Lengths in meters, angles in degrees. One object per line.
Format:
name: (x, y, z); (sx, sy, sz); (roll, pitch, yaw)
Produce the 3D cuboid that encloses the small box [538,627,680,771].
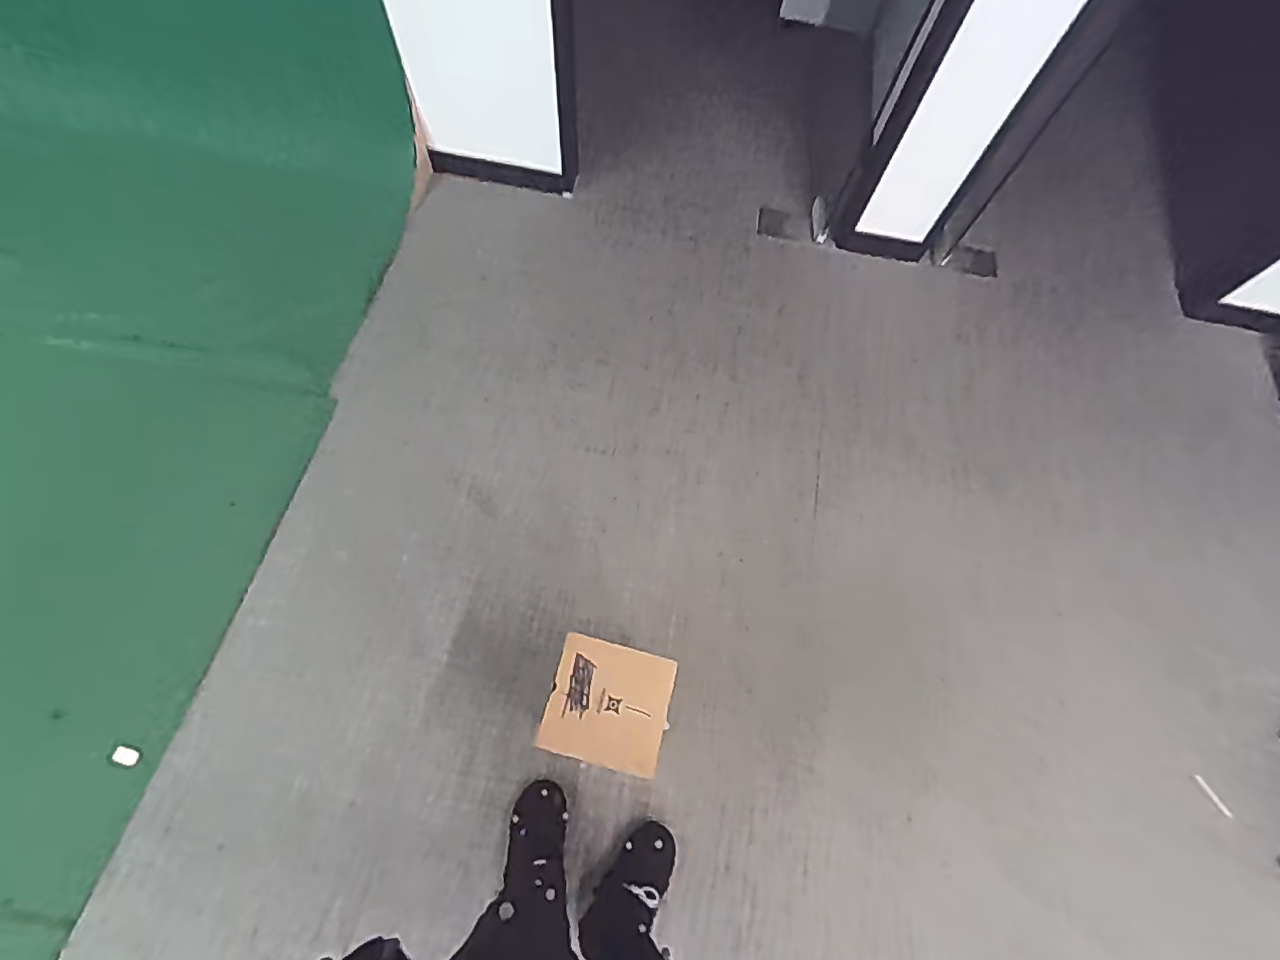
small box: (-0.046, 0.351, 0.868); (0.179, 0.176, 0.168); (14, 67, 4)
